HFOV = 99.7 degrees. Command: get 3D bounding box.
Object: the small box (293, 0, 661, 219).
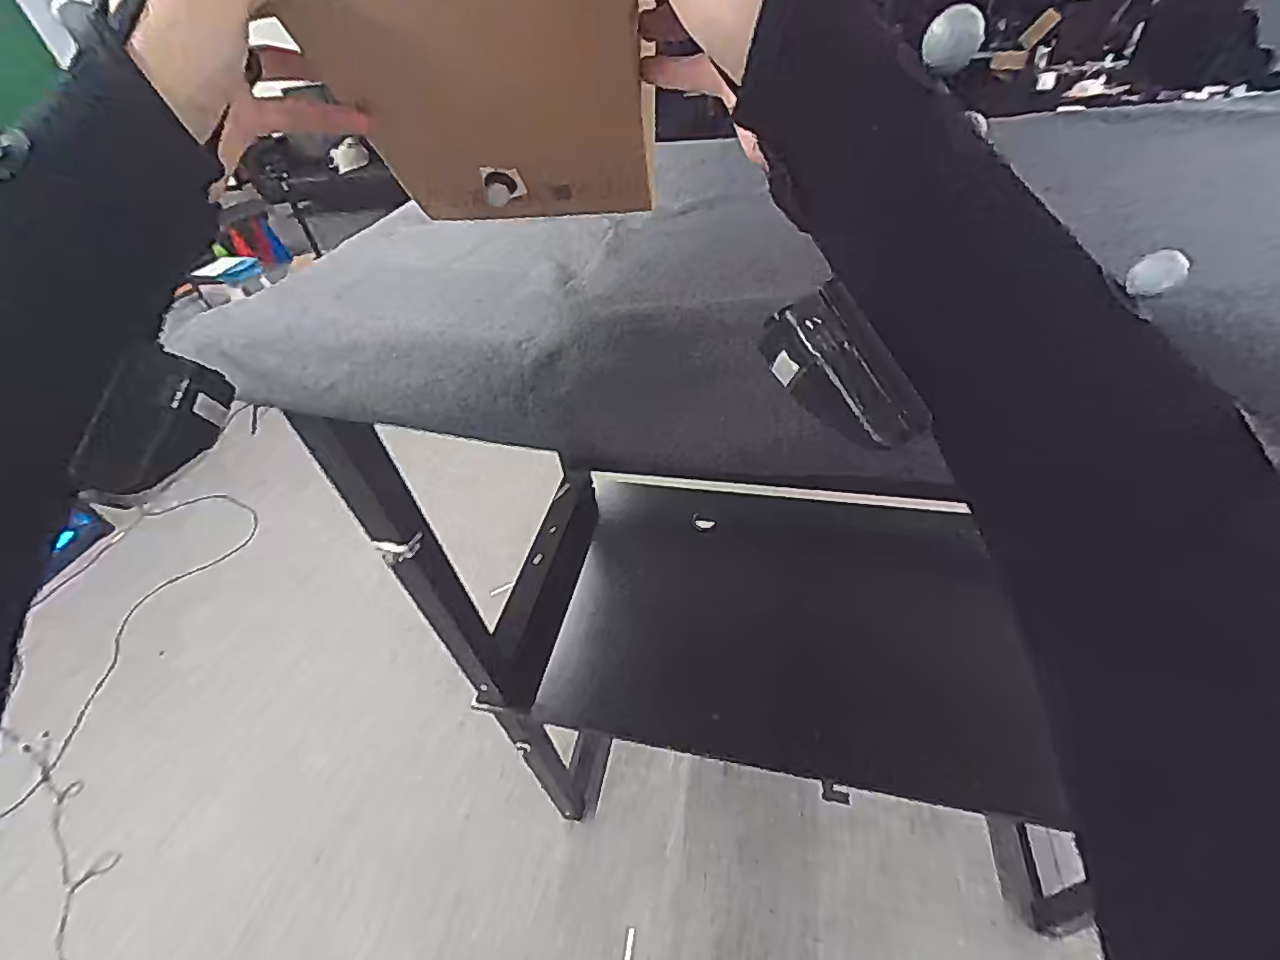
[{"bbox_3d":[-0.076,-0.287,0.319,0.168,0.176,0.179,0,79,6],"label":"small box"}]
